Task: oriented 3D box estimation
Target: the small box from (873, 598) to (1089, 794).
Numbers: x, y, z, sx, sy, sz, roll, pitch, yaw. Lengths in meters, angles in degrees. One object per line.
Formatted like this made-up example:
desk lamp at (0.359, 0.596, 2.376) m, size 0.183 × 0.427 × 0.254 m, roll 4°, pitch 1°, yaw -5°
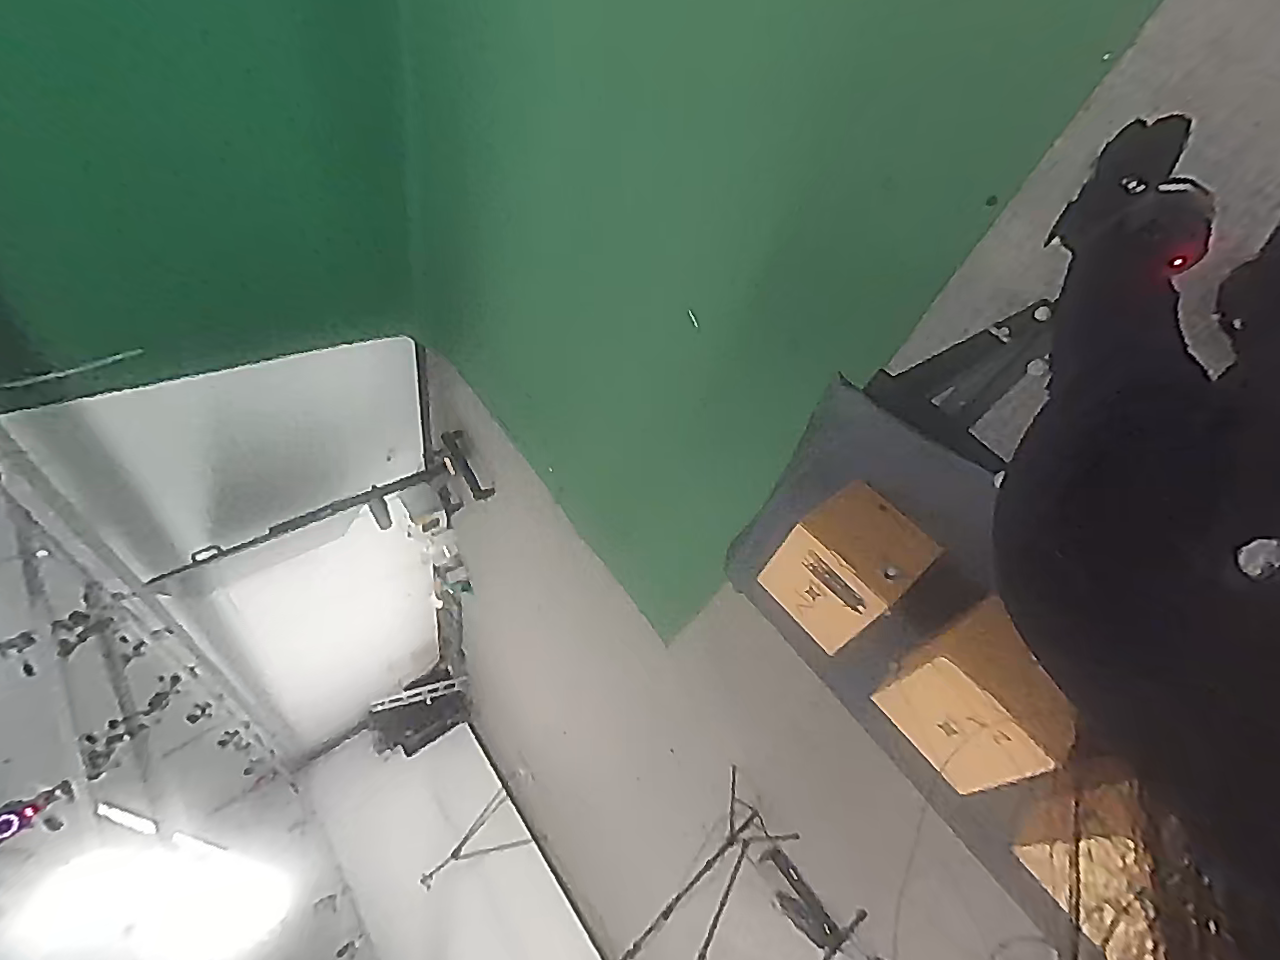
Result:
small box at (0.480, 0.302, 0.767) m, size 0.168 × 0.176 × 0.179 m, roll 47°, pitch 142°, yaw 22°

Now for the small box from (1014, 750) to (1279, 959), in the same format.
small box at (0.628, 0.470, 0.674) m, size 0.168 × 0.176 × 0.179 m, roll 50°, pitch 144°, yaw 21°
